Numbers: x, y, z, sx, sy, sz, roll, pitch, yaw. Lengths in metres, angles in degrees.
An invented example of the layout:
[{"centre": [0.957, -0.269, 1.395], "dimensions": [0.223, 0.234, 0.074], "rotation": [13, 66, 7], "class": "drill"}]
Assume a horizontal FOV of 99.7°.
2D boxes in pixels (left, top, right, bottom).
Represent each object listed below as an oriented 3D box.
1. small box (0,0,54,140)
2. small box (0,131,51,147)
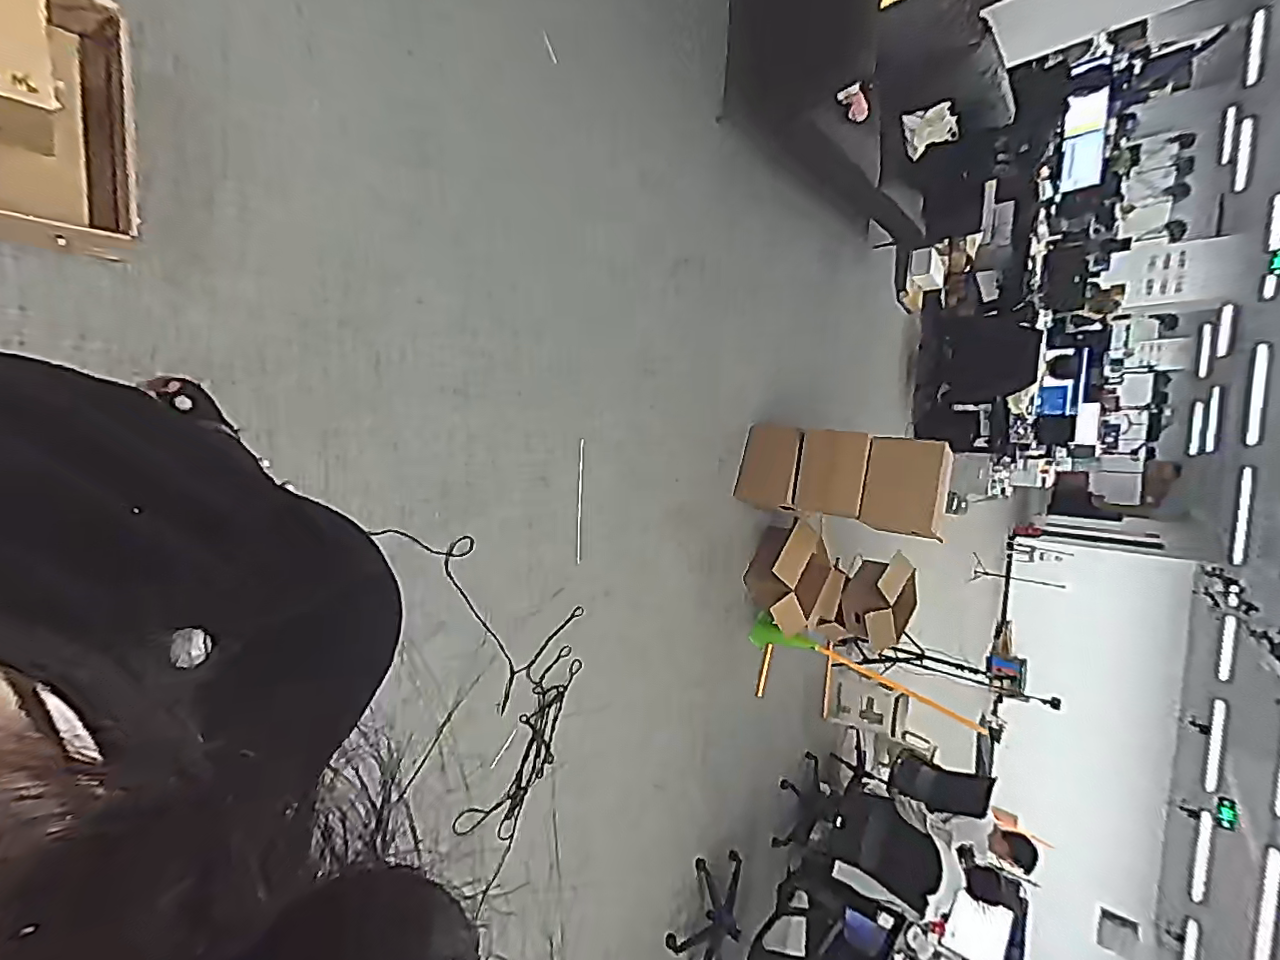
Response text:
[{"centre": [-0.947, -0.620, 0.754], "dimensions": [0.168, 0.176, 0.179], "rotation": [-5, 99, -47], "class": "small box"}, {"centre": [-1.072, -0.659, 0.856], "dimensions": [0.179, 0.176, 0.168], "rotation": [-11, 104, -47], "class": "small box"}]
